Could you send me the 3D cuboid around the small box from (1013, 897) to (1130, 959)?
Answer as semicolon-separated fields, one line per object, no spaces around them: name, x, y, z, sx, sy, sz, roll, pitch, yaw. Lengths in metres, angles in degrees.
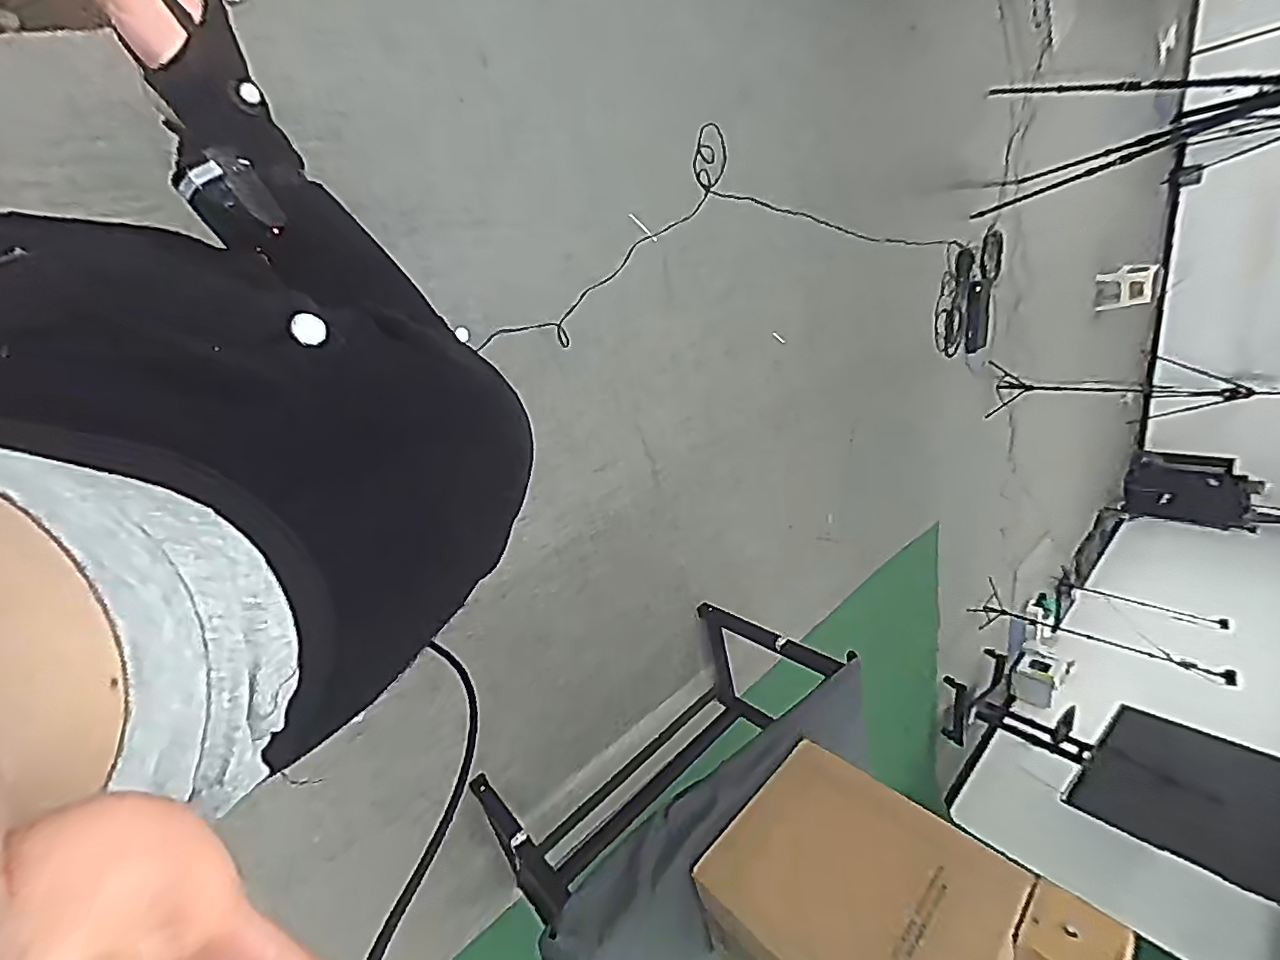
small box;0.927;1.060;1.170;0.168;0.176;0.179;-30;116;-33

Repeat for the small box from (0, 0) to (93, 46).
small box;-0.442;-0.340;0.271;0.168;0.176;0.179;-22;123;-22
